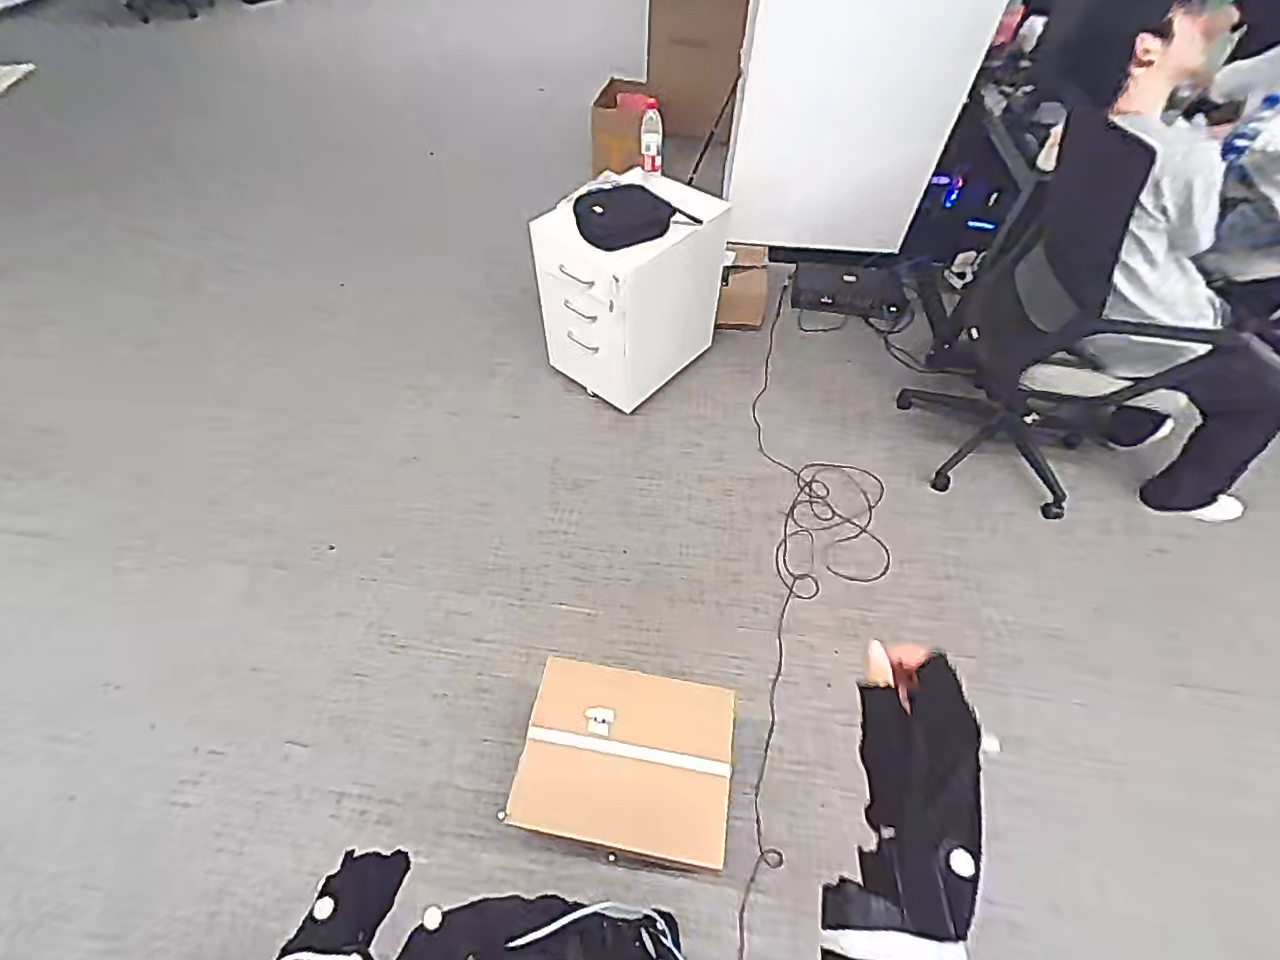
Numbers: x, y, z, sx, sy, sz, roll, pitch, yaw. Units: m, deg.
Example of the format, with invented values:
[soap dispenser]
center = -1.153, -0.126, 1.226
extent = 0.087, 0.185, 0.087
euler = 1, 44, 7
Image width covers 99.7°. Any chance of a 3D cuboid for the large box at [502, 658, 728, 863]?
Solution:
[large box]
center = -0.035, 0.618, 1.183
extent = 0.408, 0.320, 0.320
euler = 9, 53, 5
